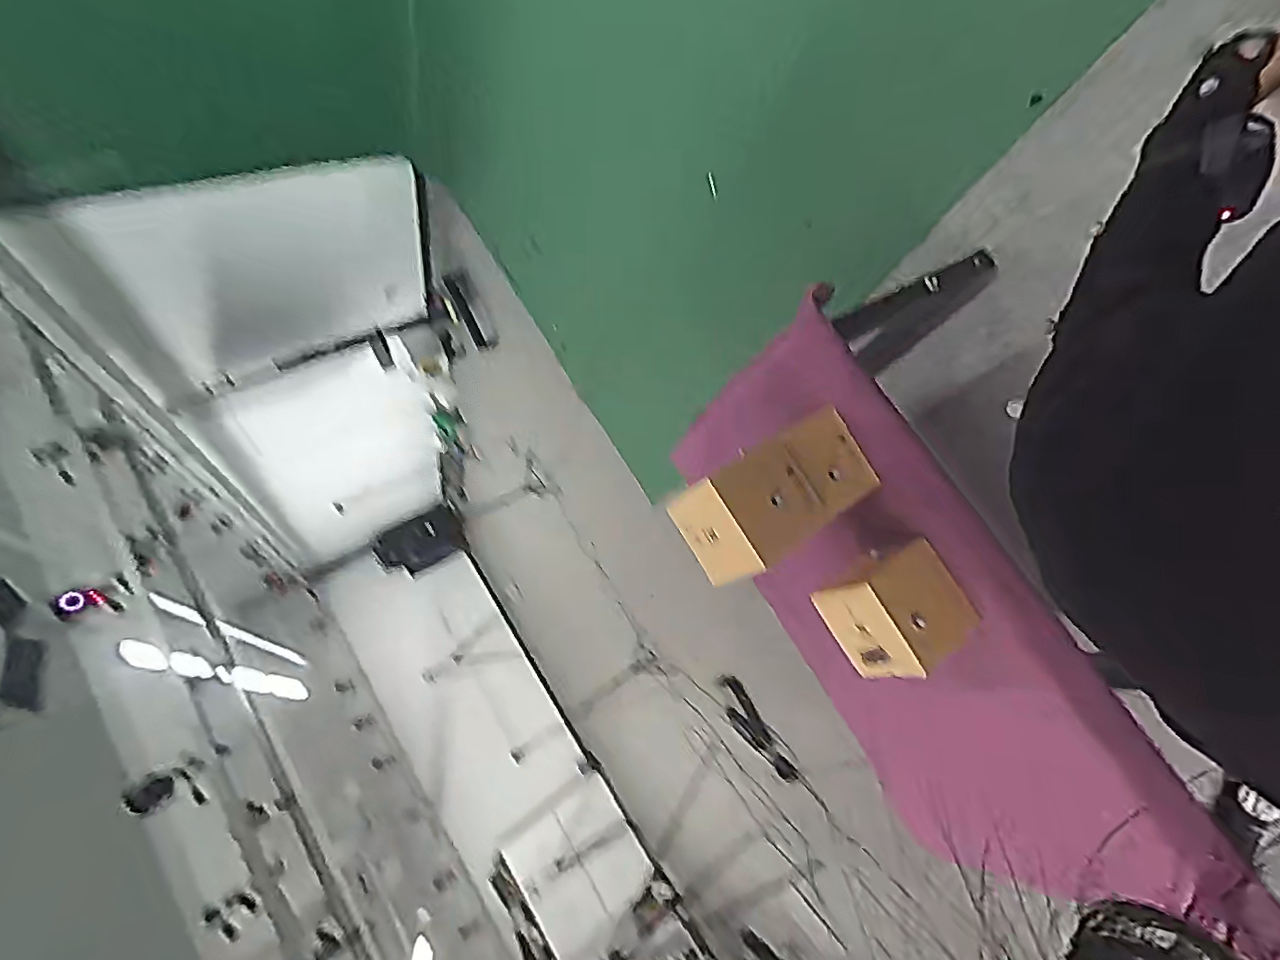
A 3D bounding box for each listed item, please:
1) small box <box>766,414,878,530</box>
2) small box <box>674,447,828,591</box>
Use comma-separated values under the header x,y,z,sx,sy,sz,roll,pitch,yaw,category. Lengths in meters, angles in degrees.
x,y,z,sx,sy,sz,roll,pitch,yaw,category
0.317,-0.001,1.023,0.168,0.176,0.179,59,153,4,small box
0.195,0.067,0.933,0.168,0.176,0.179,58,153,7,small box
